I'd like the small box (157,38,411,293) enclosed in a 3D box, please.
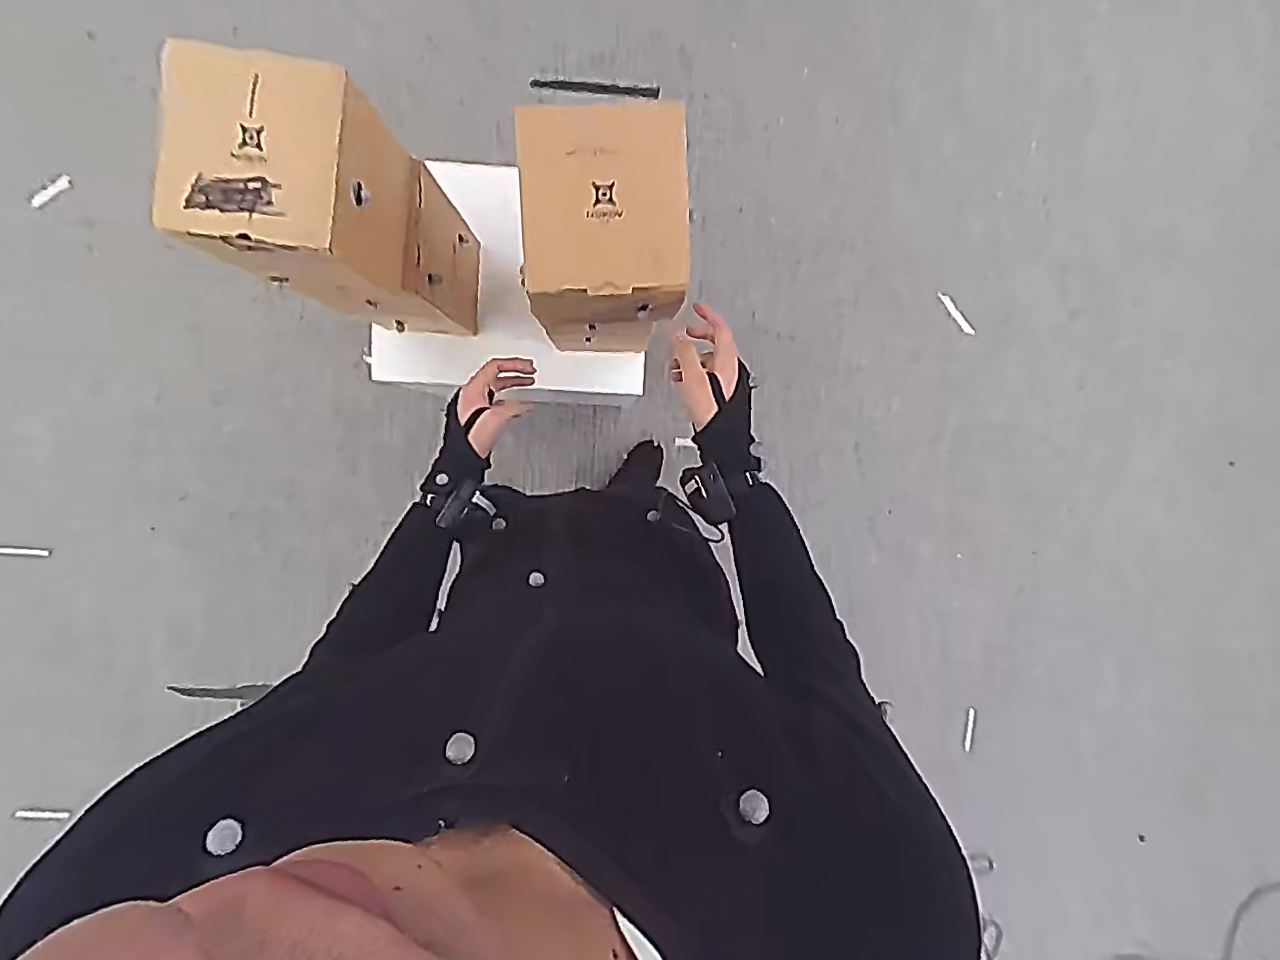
[{"bbox_3d":[-0.364,-0.315,0.583,0.168,0.176,0.179,7,94,-3],"label":"small box"}]

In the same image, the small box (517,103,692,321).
[{"bbox_3d":[-0.036,-0.278,0.601,0.168,0.176,0.179,-3,95,-3],"label":"small box"}]

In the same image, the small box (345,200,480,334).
[{"bbox_3d":[-0.372,-0.350,0.910,0.168,0.176,0.179,3,95,-4],"label":"small box"}]

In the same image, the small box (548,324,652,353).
[{"bbox_3d":[-0.065,-0.322,0.926,0.168,0.176,0.179,1,95,-2],"label":"small box"}]

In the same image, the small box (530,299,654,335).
[{"bbox_3d":[-0.058,-0.306,0.762,0.168,0.176,0.179,1,95,-2],"label":"small box"}]
